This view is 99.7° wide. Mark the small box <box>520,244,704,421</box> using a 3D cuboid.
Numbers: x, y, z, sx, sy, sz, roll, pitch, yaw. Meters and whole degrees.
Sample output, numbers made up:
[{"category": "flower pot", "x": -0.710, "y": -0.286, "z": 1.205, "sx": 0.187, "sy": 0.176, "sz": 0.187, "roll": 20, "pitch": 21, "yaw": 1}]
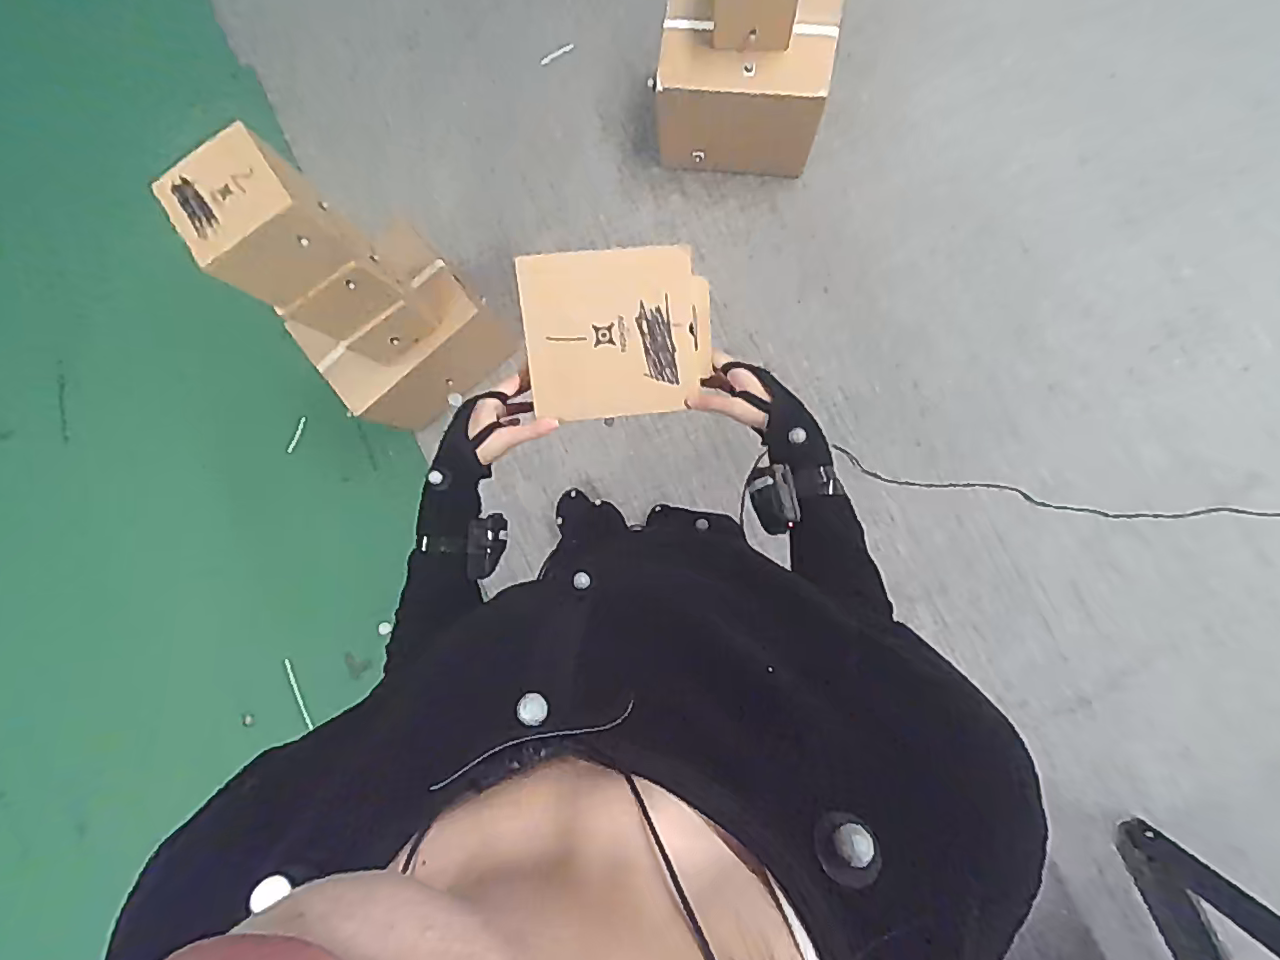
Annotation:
[{"category": "small box", "x": -0.035, "y": -0.162, "z": 0.616, "sx": 0.179, "sy": 0.176, "sz": 0.168, "roll": -6, "pitch": 101, "yaw": -6}]

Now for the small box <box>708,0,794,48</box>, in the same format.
[{"category": "small box", "x": 0.244, "y": -1.077, "z": 1.166, "sx": 0.179, "sy": 0.176, "sz": 0.168, "roll": 4, "pitch": 86, "yaw": 4}]

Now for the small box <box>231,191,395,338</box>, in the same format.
[{"category": "small box", "x": -0.620, "y": -0.403, "z": 1.046, "sx": 0.179, "sy": 0.176, "sz": 0.168, "roll": -33, "pitch": 85, "yaw": 2}]

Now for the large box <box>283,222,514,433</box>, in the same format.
[{"category": "large box", "x": -0.623, "y": -0.382, "z": 1.455, "sx": 0.408, "sy": 0.320, "sz": 0.320, "roll": -40, "pitch": 83, "yaw": 3}]

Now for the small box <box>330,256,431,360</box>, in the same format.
[{"category": "small box", "x": -0.605, "y": -0.387, "z": 1.207, "sx": 0.168, "sy": 0.176, "sz": 0.179, "roll": -35, "pitch": 85, "yaw": 2}]
